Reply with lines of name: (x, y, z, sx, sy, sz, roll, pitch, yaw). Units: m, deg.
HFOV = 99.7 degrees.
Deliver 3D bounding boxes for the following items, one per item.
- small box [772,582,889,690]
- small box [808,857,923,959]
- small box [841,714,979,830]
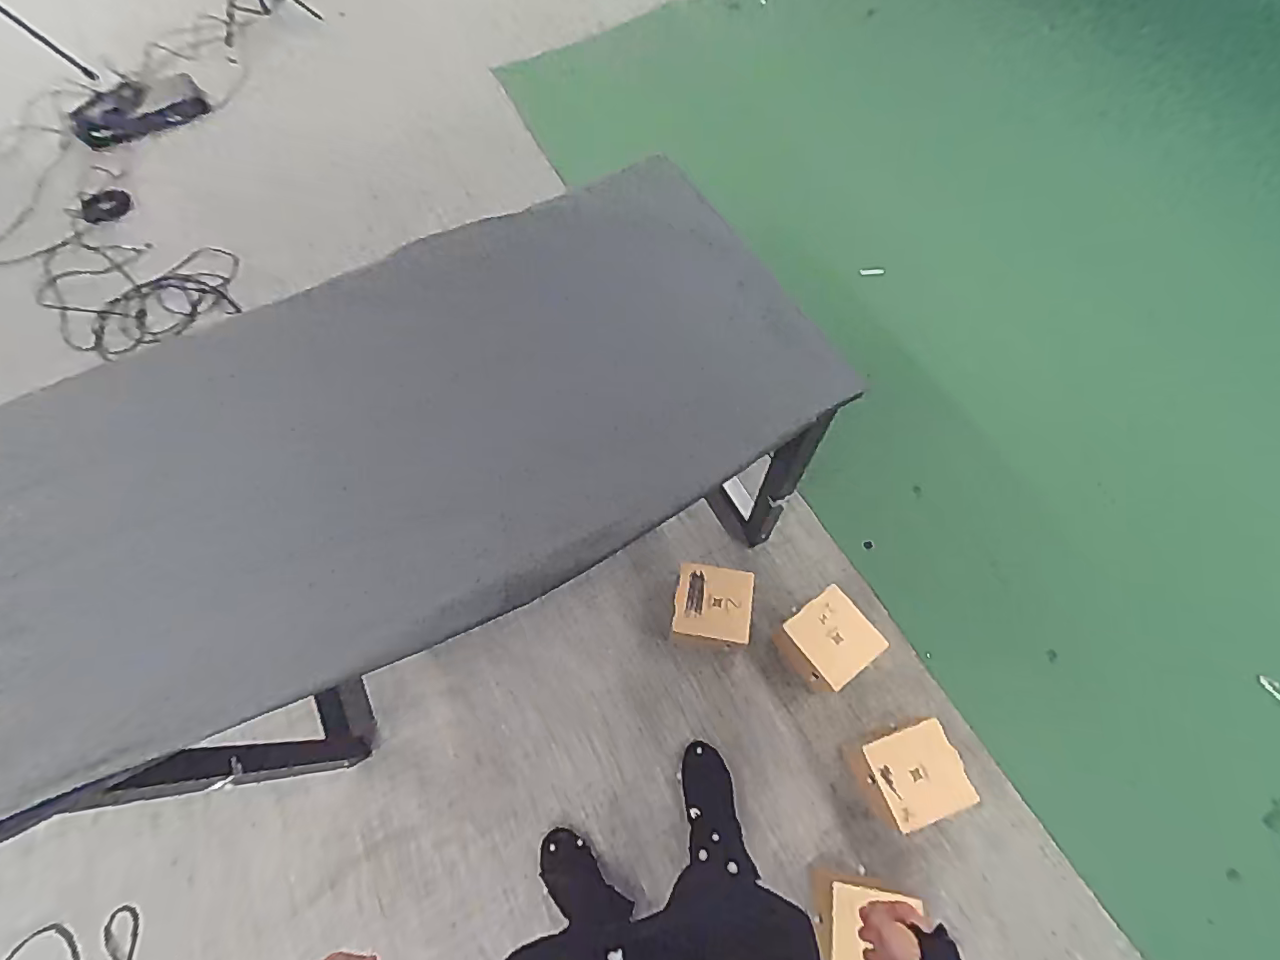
small box: (0.436, 0.369, 1.267, 0.168, 0.176, 0.179, -35, 69, -12)
small box: (0.432, 0.870, 1.052, 0.168, 0.176, 0.179, 8, 67, 6)
small box: (0.565, 0.612, 1.155, 0.179, 0.176, 0.168, -19, 68, -5)
